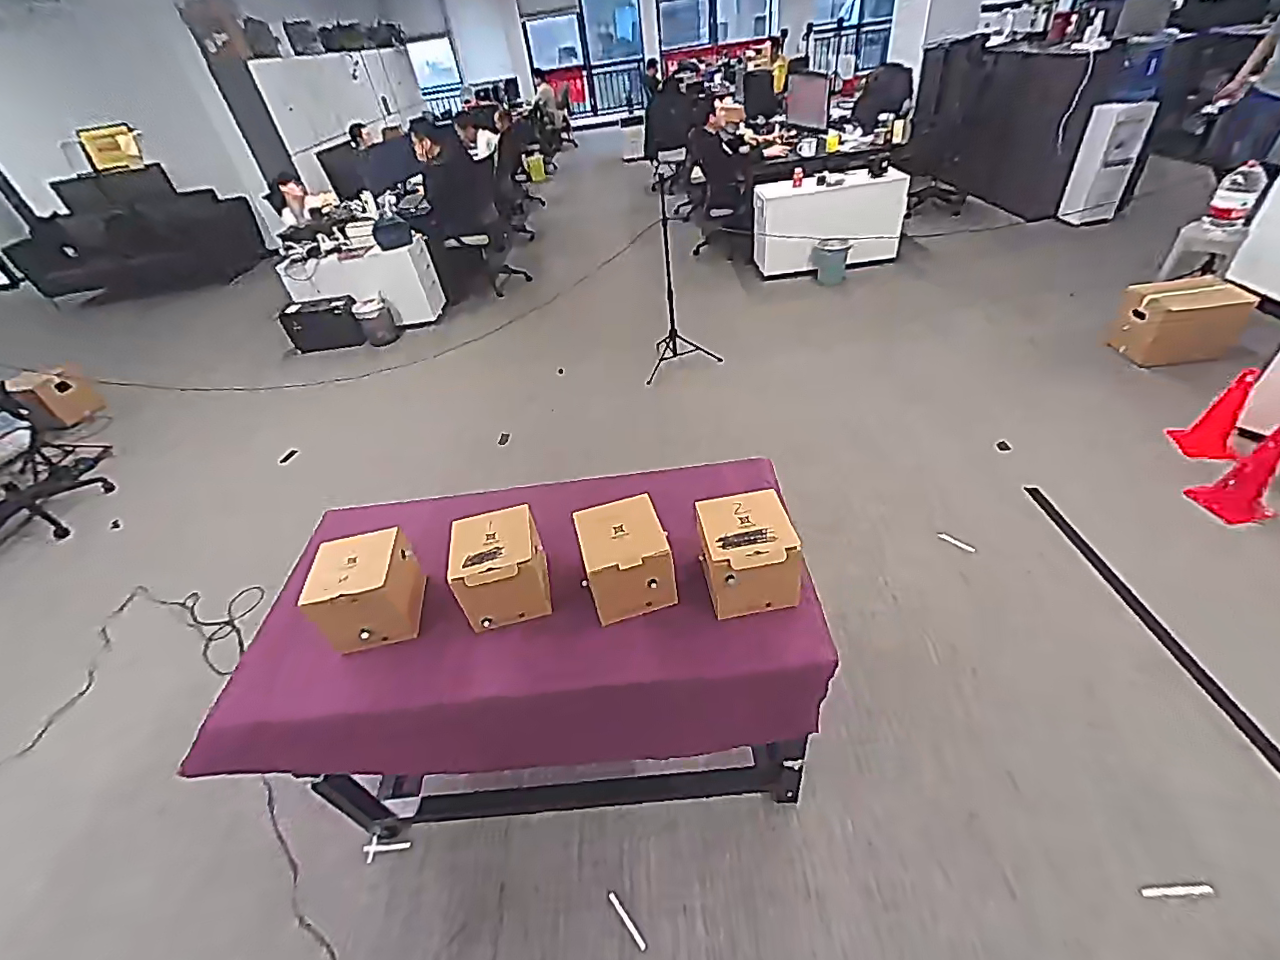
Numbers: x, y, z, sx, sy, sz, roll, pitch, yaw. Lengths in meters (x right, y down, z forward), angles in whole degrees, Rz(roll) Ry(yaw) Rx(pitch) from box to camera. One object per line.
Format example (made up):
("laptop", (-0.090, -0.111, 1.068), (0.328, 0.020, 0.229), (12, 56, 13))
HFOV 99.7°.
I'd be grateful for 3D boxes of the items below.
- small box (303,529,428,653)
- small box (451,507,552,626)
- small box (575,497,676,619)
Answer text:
("small box", (-0.568, 0.235, 1.149), (0.168, 0.176, 0.179), (-12, 40, -3))
("small box", (-0.289, 0.189, 1.151), (0.168, 0.176, 0.179), (-13, 39, -5))
("small box", (-0.028, 0.168, 1.129), (0.168, 0.176, 0.179), (-14, 39, -7))
